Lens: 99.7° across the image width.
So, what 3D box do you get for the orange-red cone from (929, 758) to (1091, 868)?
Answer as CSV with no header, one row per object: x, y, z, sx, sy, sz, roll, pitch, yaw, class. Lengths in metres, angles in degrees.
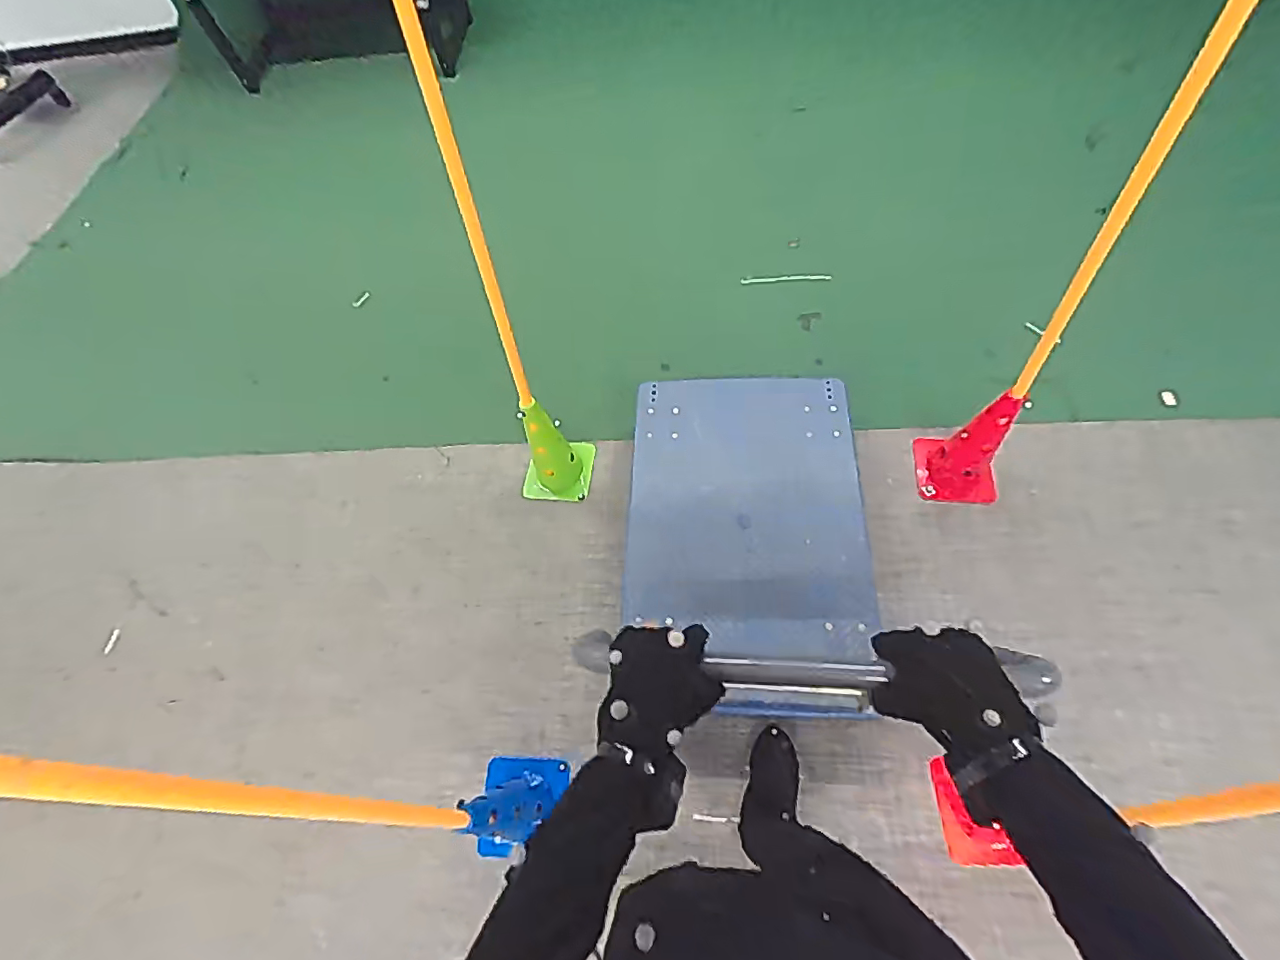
0.716,0.626,1.008,0.199,0.360,0.198,-3,61,7,orange-red cone

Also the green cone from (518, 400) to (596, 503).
-0.261,-0.103,1.513,0.202,0.368,0.200,2,62,9,green cone
